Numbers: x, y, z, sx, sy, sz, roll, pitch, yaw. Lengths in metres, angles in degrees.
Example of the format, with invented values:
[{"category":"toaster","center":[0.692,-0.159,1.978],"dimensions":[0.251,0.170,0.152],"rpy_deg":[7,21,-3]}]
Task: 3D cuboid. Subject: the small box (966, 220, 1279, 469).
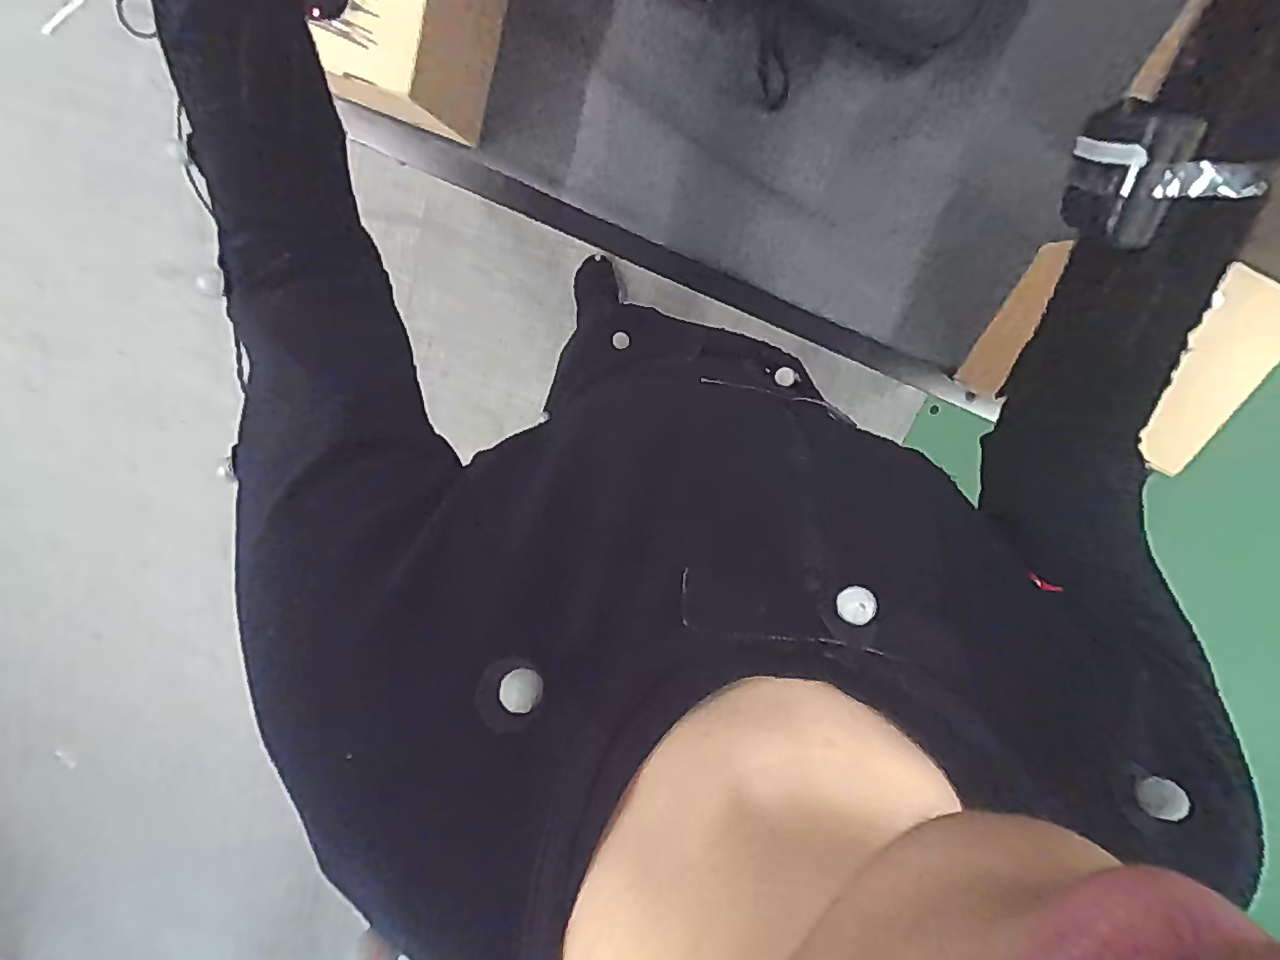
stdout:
[{"category":"small box","center":[0.492,-0.144,0.568],"dimensions":[0.168,0.176,0.179],"rpy_deg":[25,111,-4]}]
